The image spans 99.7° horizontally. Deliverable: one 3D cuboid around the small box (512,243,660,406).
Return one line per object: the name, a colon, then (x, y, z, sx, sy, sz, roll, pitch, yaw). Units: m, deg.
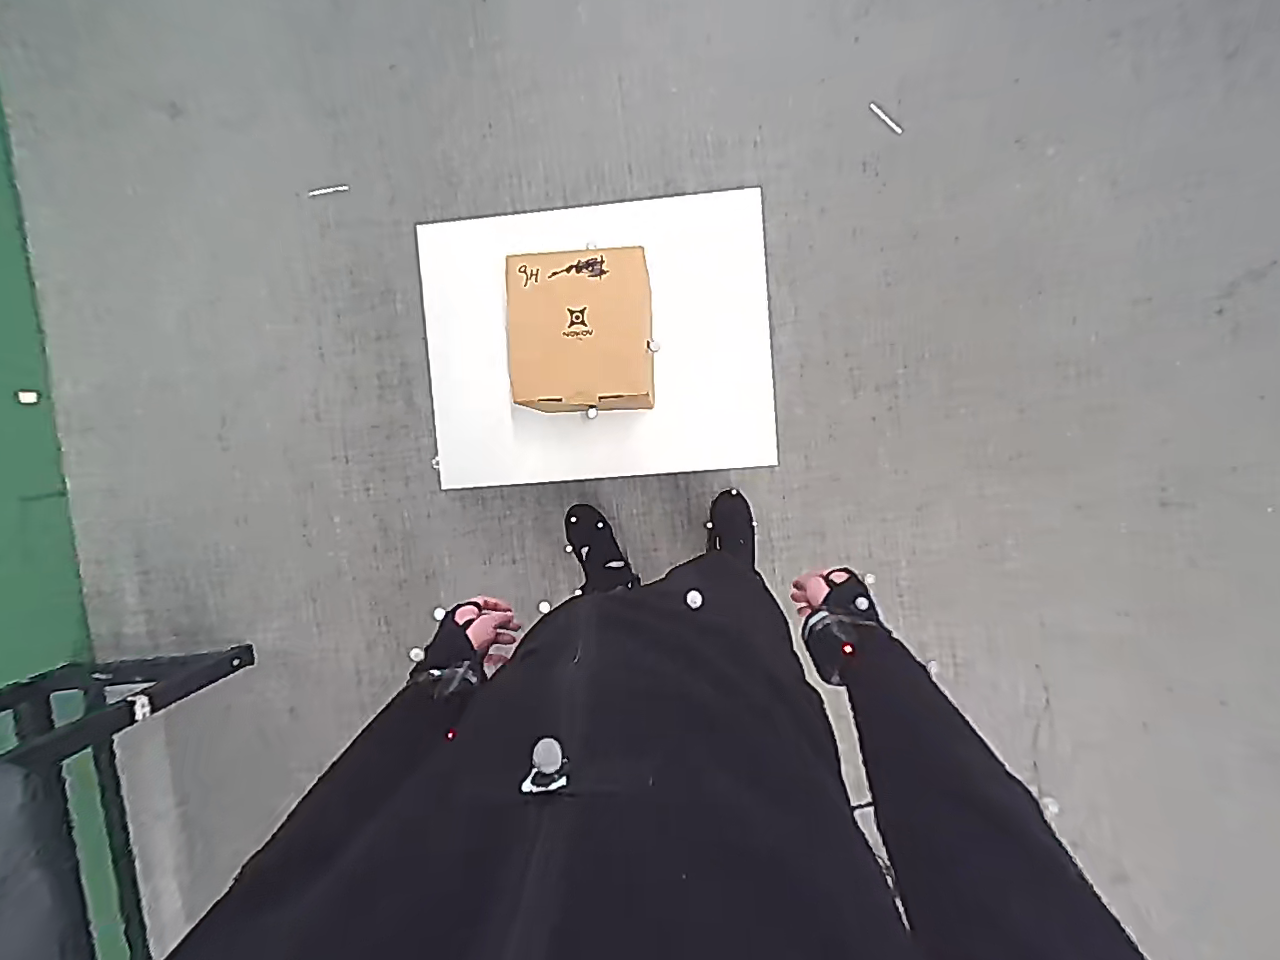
small box: (-0.062, -0.193, 0.726, 0.168, 0.176, 0.179, -4, 92, 4)
